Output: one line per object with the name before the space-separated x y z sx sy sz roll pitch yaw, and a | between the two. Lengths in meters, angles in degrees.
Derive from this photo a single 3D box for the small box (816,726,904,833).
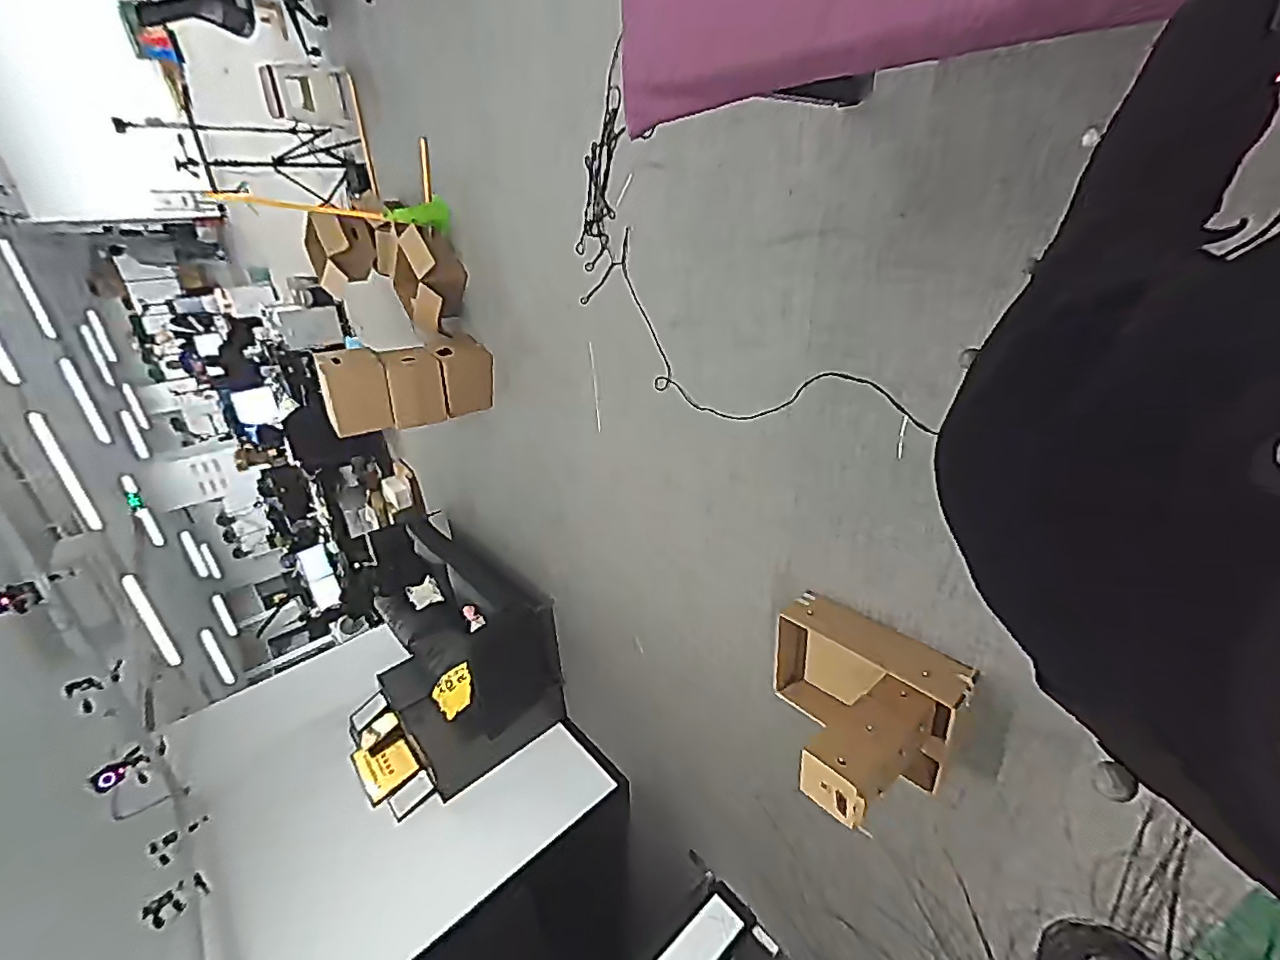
small box | 0.636 0.853 1.562 0.179 0.176 0.168 22 123 48

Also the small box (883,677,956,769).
small box | 0.894 0.773 1.746 0.168 0.176 0.179 21 124 49

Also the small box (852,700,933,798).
small box | 0.767 0.810 1.651 0.179 0.176 0.168 22 124 48
